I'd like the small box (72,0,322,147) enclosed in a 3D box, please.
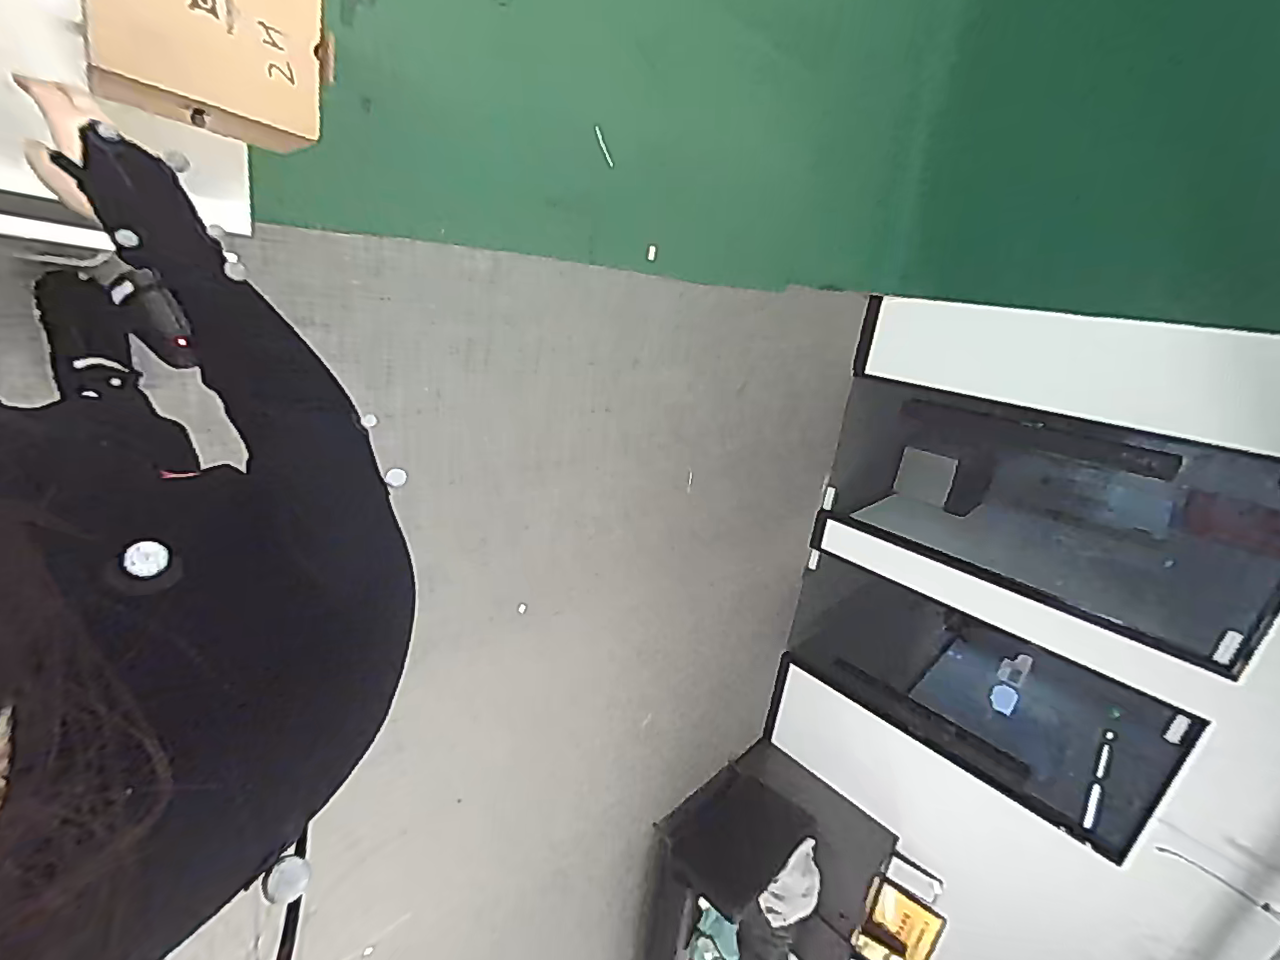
[{"bbox_3d":[-0.438,-0.451,0.536,0.179,0.176,0.168,-5,113,-45],"label":"small box"}]
